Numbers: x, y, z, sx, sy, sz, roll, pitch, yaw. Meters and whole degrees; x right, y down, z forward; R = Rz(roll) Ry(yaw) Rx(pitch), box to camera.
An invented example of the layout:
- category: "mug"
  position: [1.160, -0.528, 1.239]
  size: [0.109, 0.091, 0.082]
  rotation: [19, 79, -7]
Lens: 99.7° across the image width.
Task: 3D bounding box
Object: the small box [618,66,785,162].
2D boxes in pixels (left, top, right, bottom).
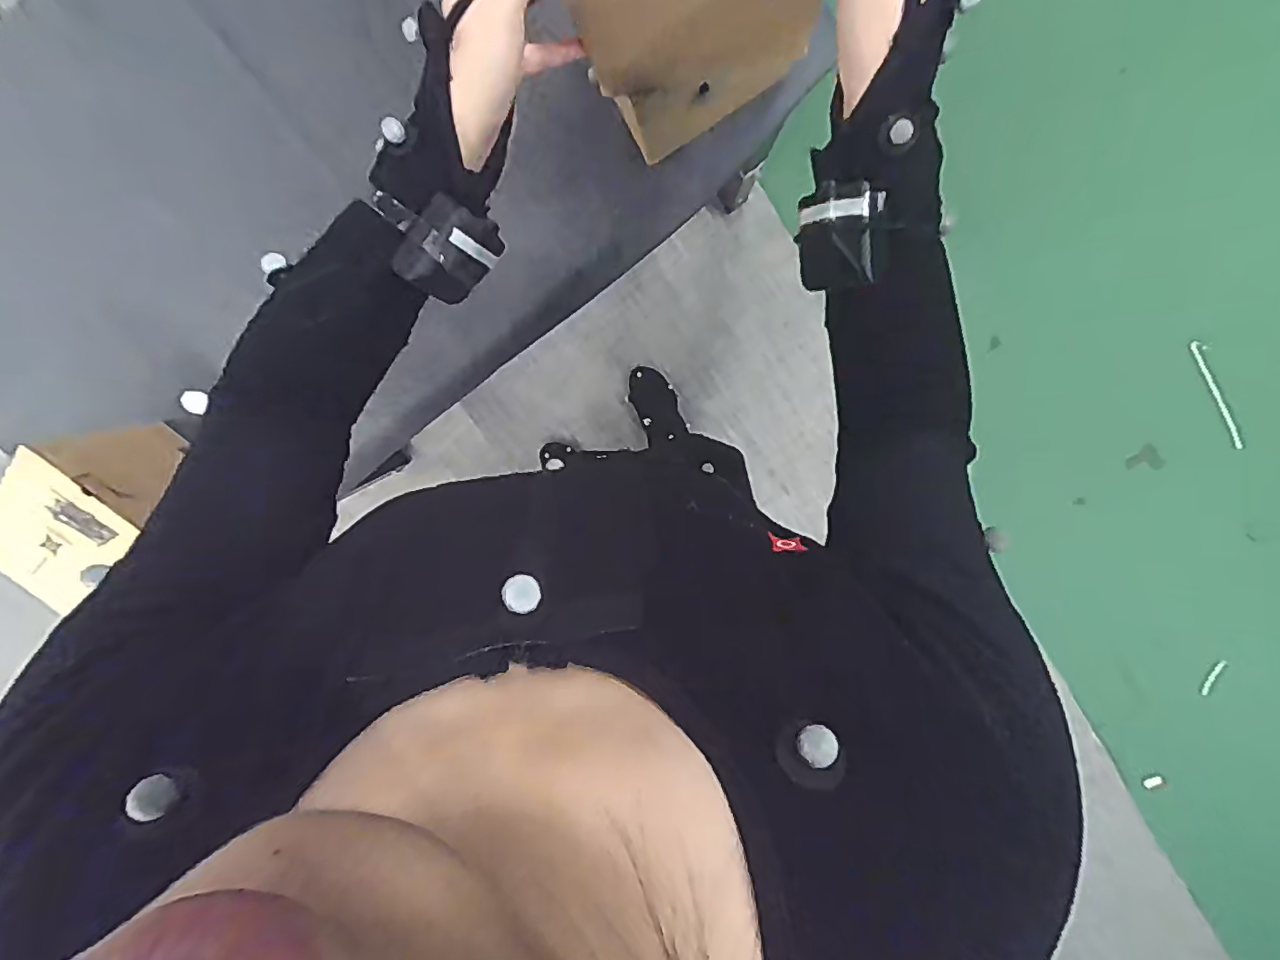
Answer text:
- category: "small box"
  position: [0.040, -0.449, 0.521]
  size: [0.179, 0.176, 0.168]
  rotation: [-28, 99, 14]

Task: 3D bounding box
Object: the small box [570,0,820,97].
- category: "small box"
  position: [0.034, -0.392, 0.364]
  size: [0.179, 0.176, 0.168]
  rotation: [-5, 105, 7]

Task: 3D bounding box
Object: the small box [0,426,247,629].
- category: "small box"
  position: [-0.674, 0.051, 0.713]
  size: [0.168, 0.176, 0.179]
  rotation: [42, 104, -8]
